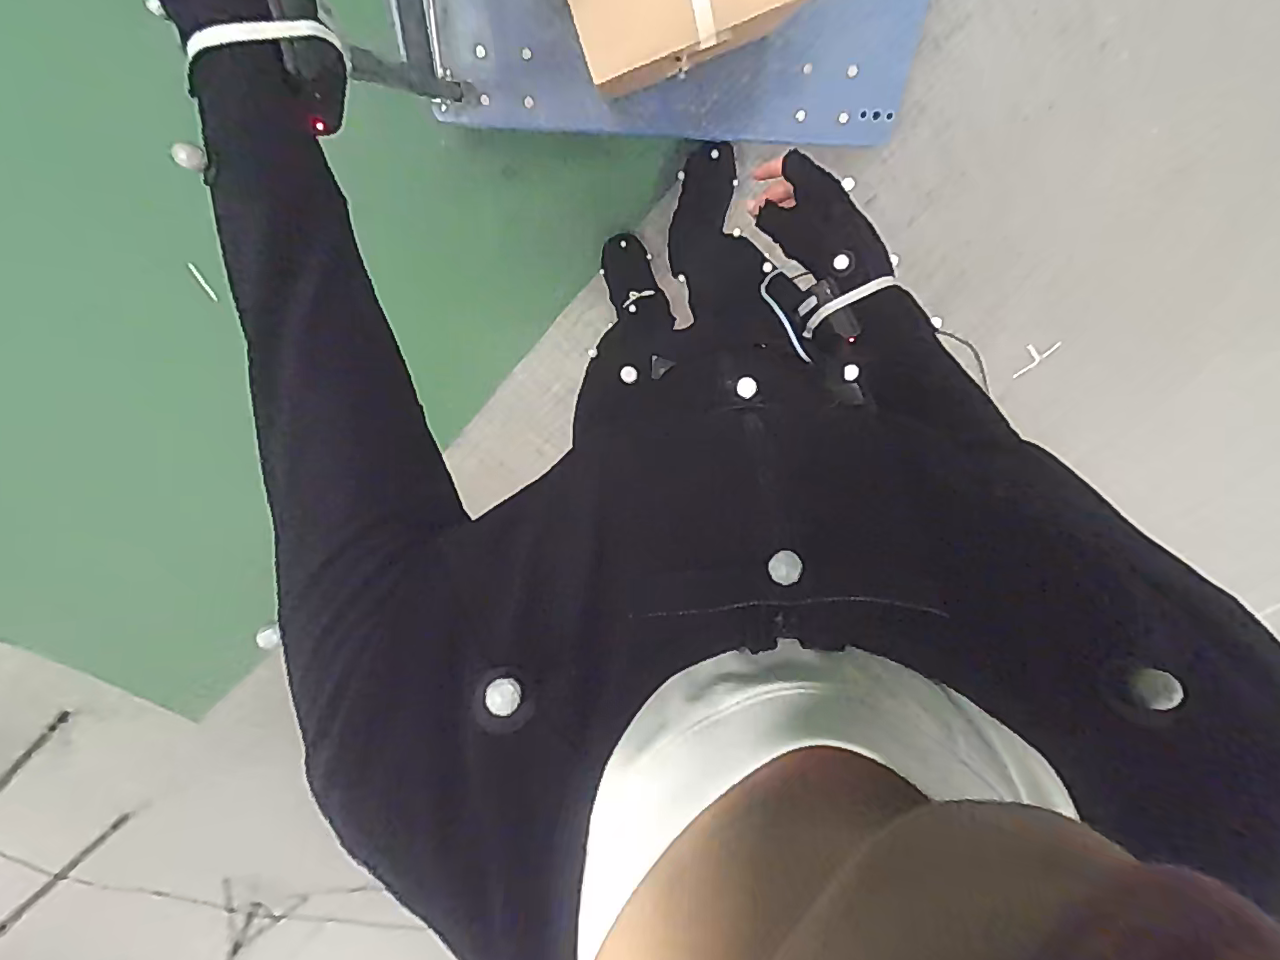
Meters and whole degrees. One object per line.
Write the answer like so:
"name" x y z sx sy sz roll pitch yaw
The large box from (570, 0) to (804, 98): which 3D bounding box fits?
"large box" 0.026 -0.815 0.732 0.320 0.320 0.408 -15 120 9
